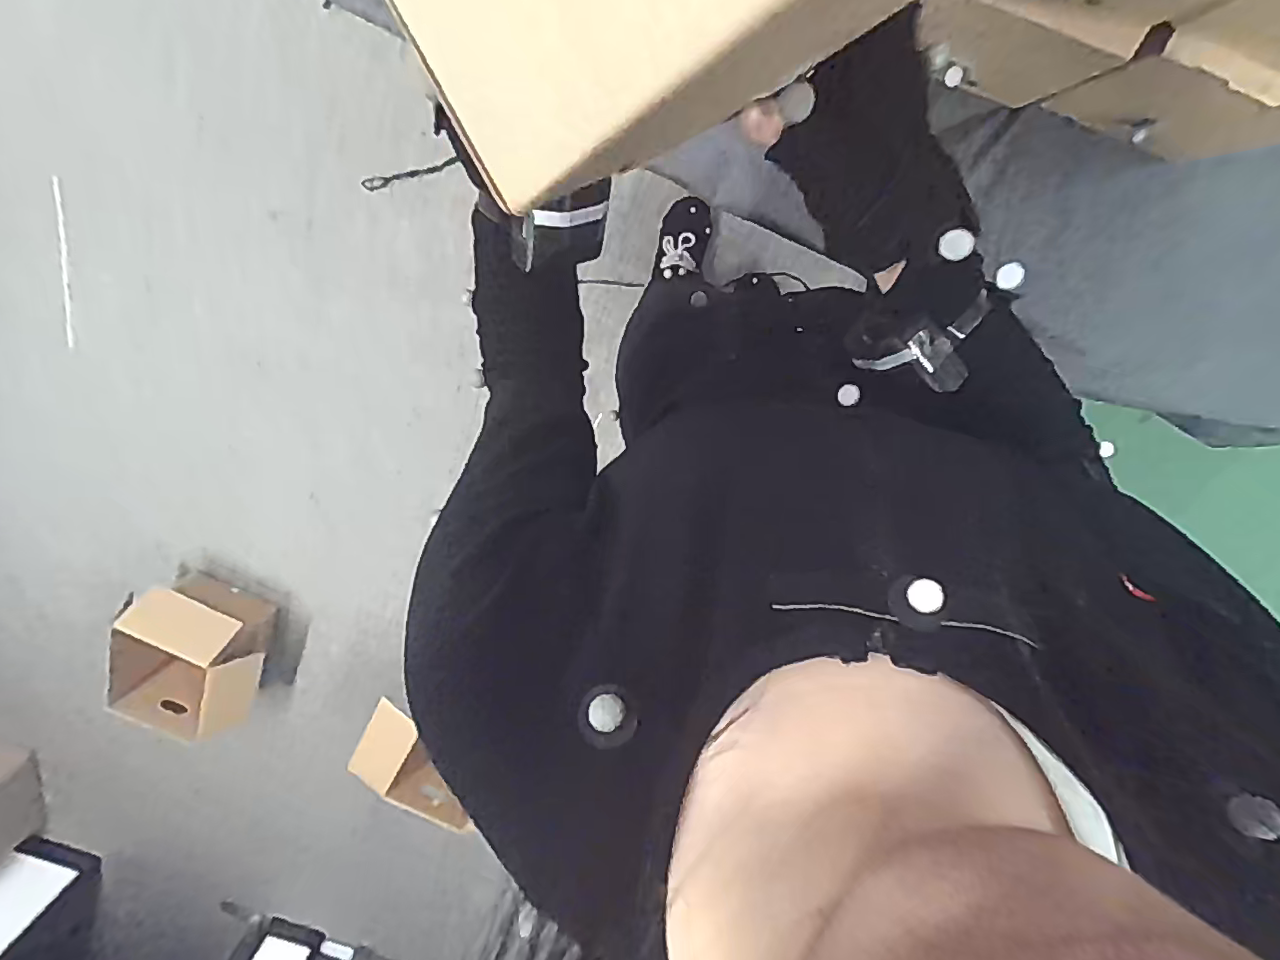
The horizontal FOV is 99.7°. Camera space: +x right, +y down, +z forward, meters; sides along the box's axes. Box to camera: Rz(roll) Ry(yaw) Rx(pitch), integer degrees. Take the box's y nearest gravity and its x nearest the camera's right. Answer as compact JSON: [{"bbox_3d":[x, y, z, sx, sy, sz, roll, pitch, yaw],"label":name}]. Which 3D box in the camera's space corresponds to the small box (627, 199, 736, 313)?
[{"bbox_3d":[0.093,-0.516,1.260,0.168,0.176,0.179,-36,85,28],"label":"small box"}]

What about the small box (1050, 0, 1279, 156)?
[{"bbox_3d":[0.505,-0.405,0.453,0.168,0.176,0.179,21,114,-2],"label":"small box"}]
